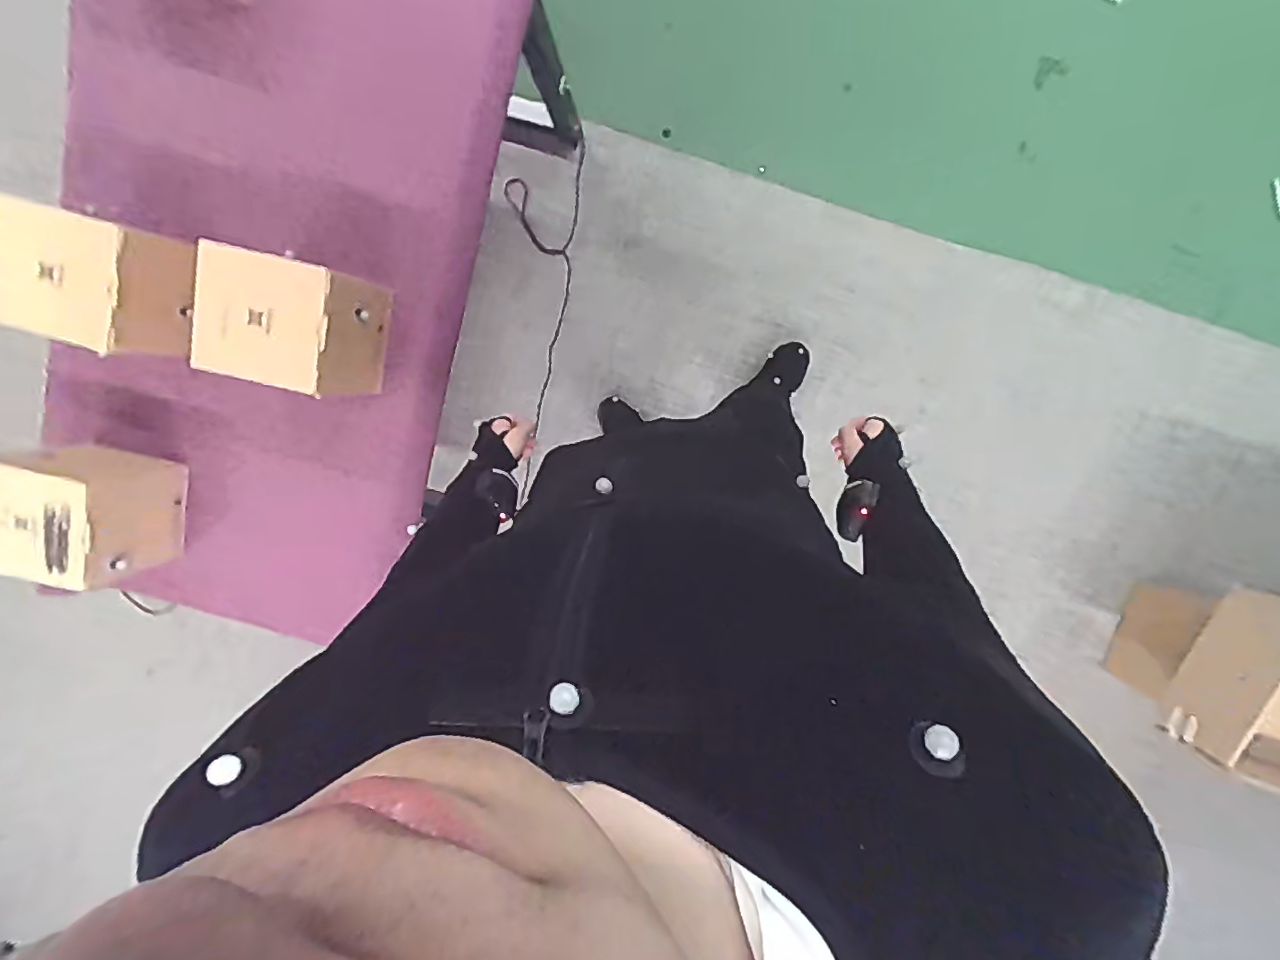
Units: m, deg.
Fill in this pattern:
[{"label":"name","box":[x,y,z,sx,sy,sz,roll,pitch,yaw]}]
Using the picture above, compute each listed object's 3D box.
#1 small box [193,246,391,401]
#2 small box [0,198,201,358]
[{"label":"small box","box":[-0.491,-0.218,0.785,0.179,0.176,0.168,14,100,1]},{"label":"small box","box":[-0.764,-0.278,0.787,0.179,0.176,0.168,15,101,-1]}]
